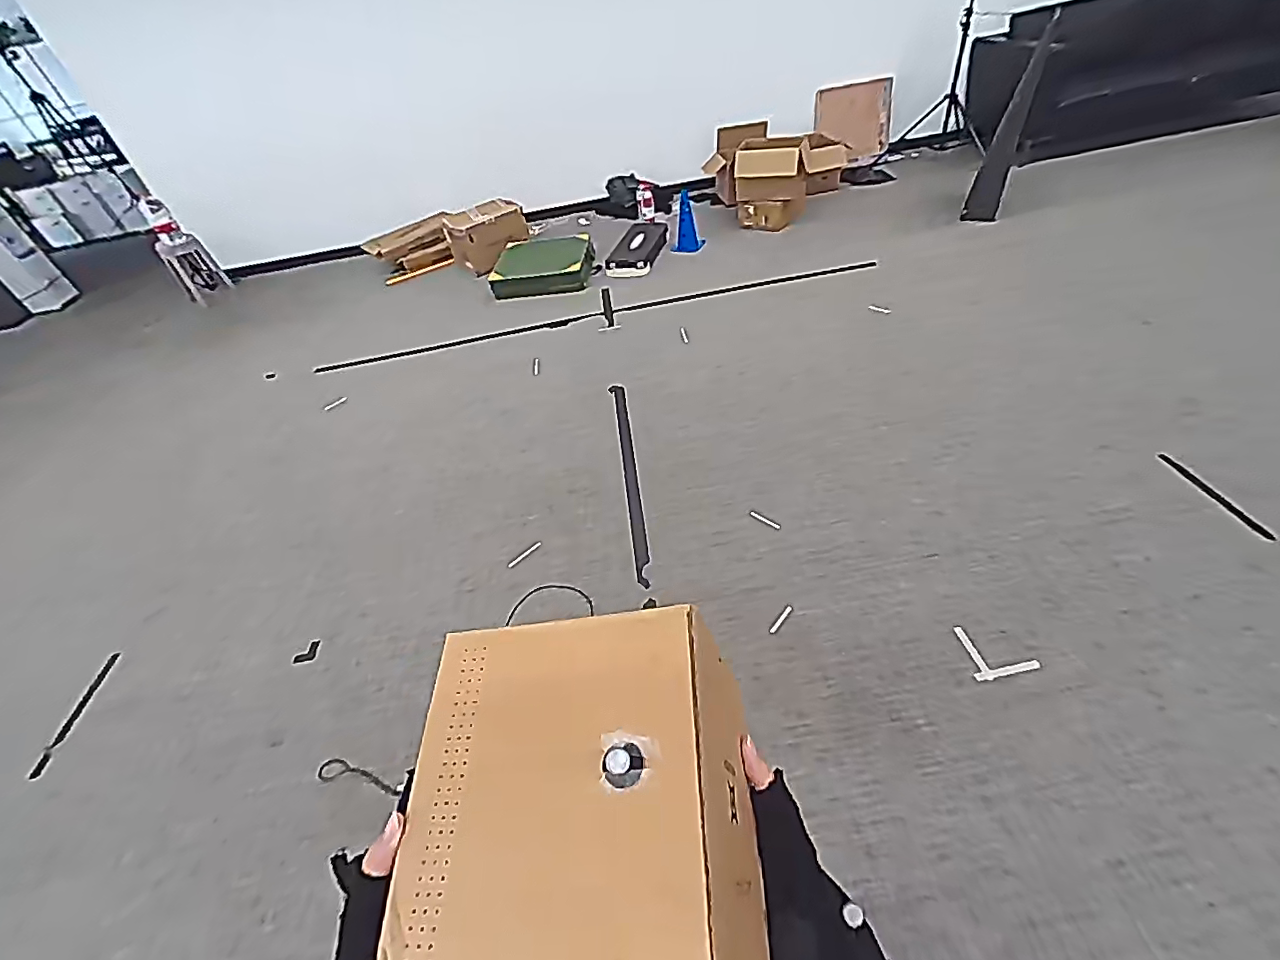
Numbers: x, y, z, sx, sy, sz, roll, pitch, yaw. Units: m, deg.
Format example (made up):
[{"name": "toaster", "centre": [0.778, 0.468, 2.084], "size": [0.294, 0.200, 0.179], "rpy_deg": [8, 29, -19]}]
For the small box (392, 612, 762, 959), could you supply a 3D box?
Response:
[{"name": "small box", "centre": [-0.026, 0.208, 0.350], "size": [0.176, 0.168, 0.179], "rpy_deg": [-11, 50, 14]}]
